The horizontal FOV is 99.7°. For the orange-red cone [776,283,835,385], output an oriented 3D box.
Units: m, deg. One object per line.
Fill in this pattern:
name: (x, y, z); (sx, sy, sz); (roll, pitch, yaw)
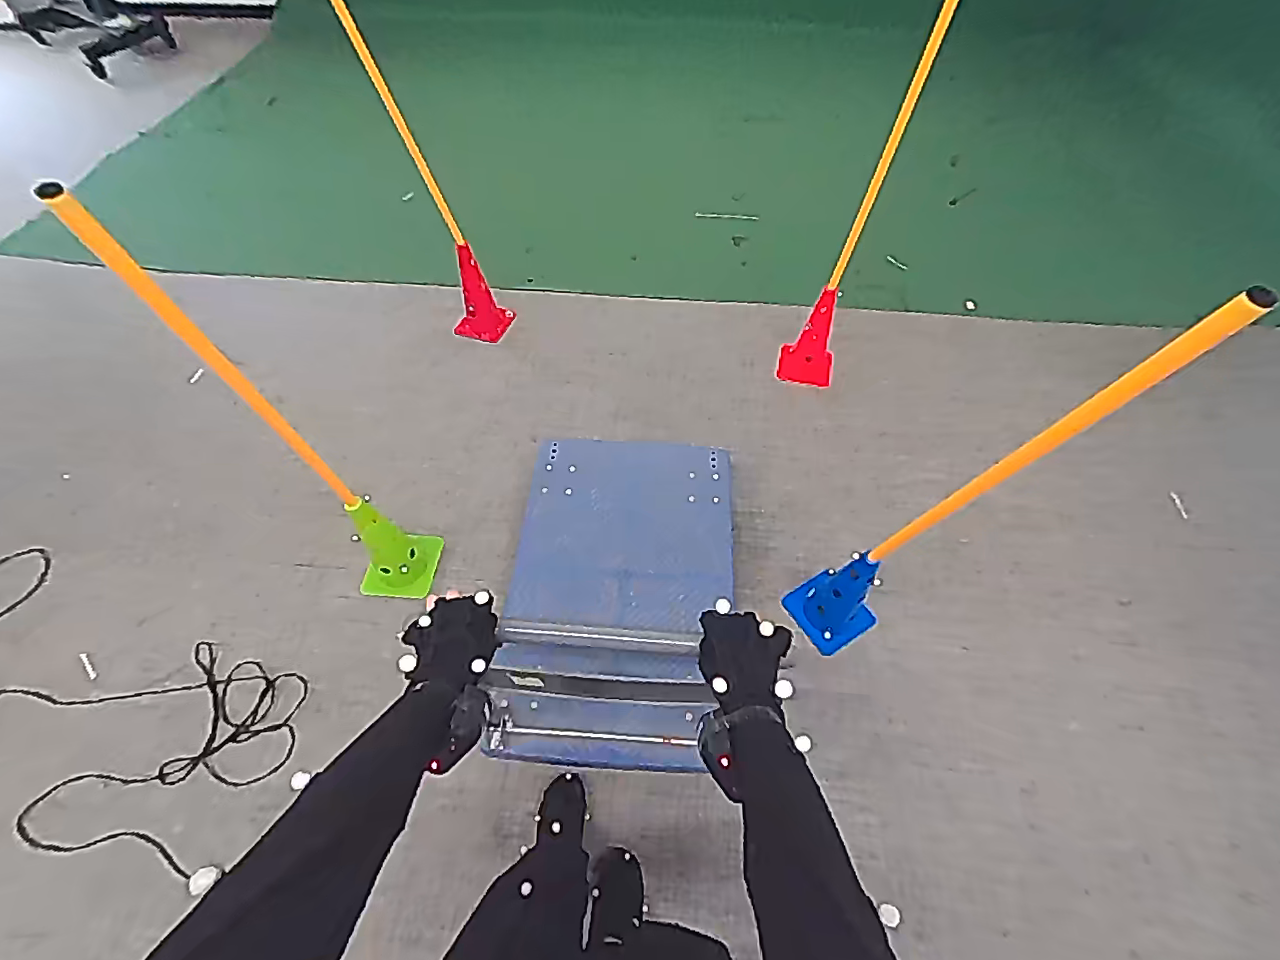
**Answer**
orange-red cone: (0.630, -0.543, 1.937); (0.198, 0.360, 0.199); (13, 58, 9)
